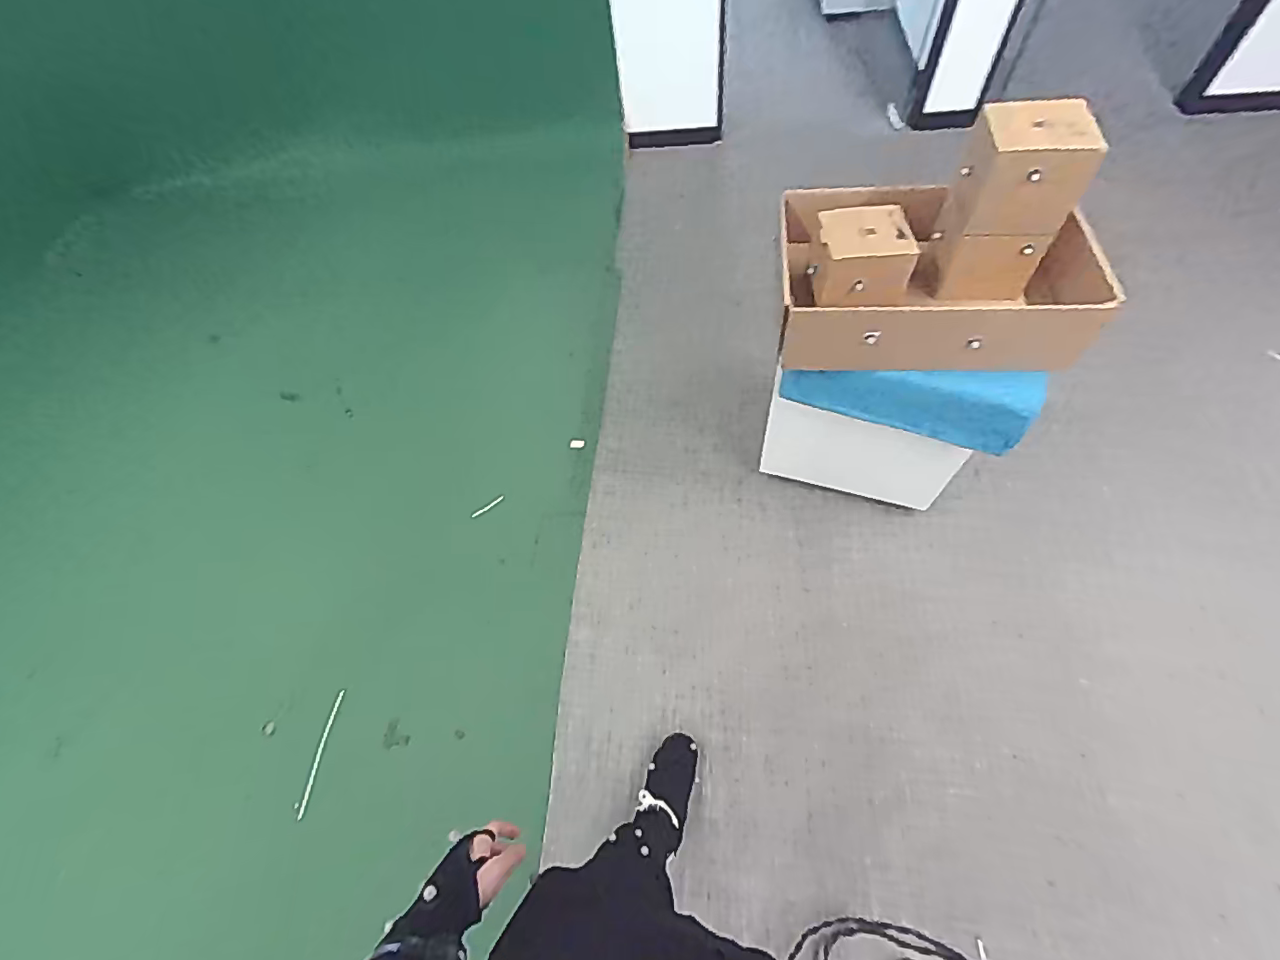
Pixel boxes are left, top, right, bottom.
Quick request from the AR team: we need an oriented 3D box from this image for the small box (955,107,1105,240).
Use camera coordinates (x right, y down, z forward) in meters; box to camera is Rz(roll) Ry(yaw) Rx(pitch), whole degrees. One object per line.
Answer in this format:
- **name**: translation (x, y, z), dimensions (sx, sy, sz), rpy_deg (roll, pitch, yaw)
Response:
- **small box**: translation (0.734, -0.587, 1.046), dimensions (0.179, 0.176, 0.168), rpy_deg (5, 60, 10)
